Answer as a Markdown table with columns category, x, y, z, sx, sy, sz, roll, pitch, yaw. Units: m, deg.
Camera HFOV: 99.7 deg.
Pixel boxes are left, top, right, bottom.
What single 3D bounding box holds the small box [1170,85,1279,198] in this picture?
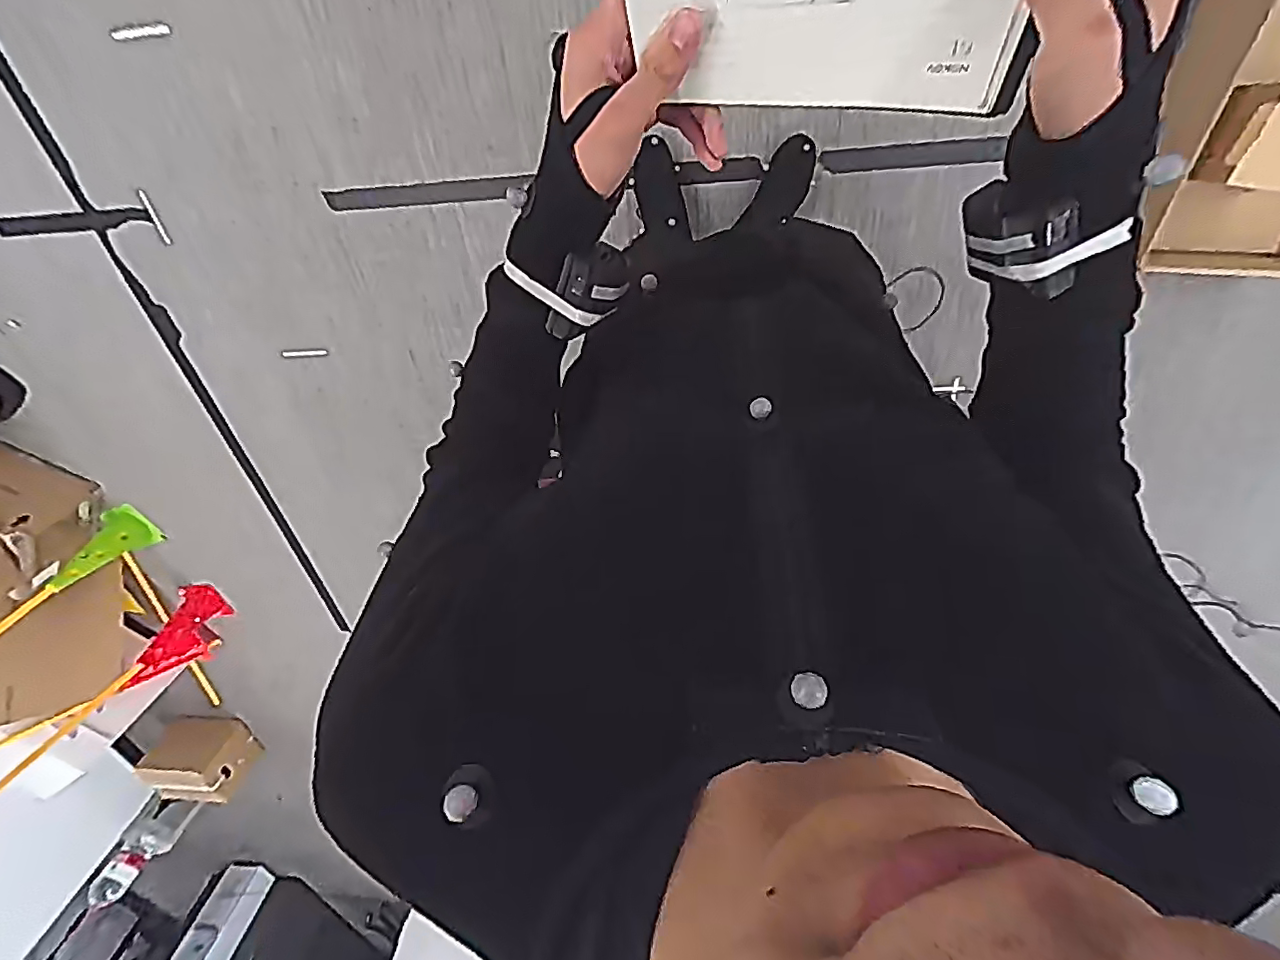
| category | x | y | z | sx | sy | sz | roll | pitch | yaw |
| --- | --- | --- | --- | --- | --- | --- | --- | --- | --- |
| small box | 1.247 | -0.673 | 1.085 | 0.179 | 0.176 | 0.168 | 10 | 124 | 0 |
